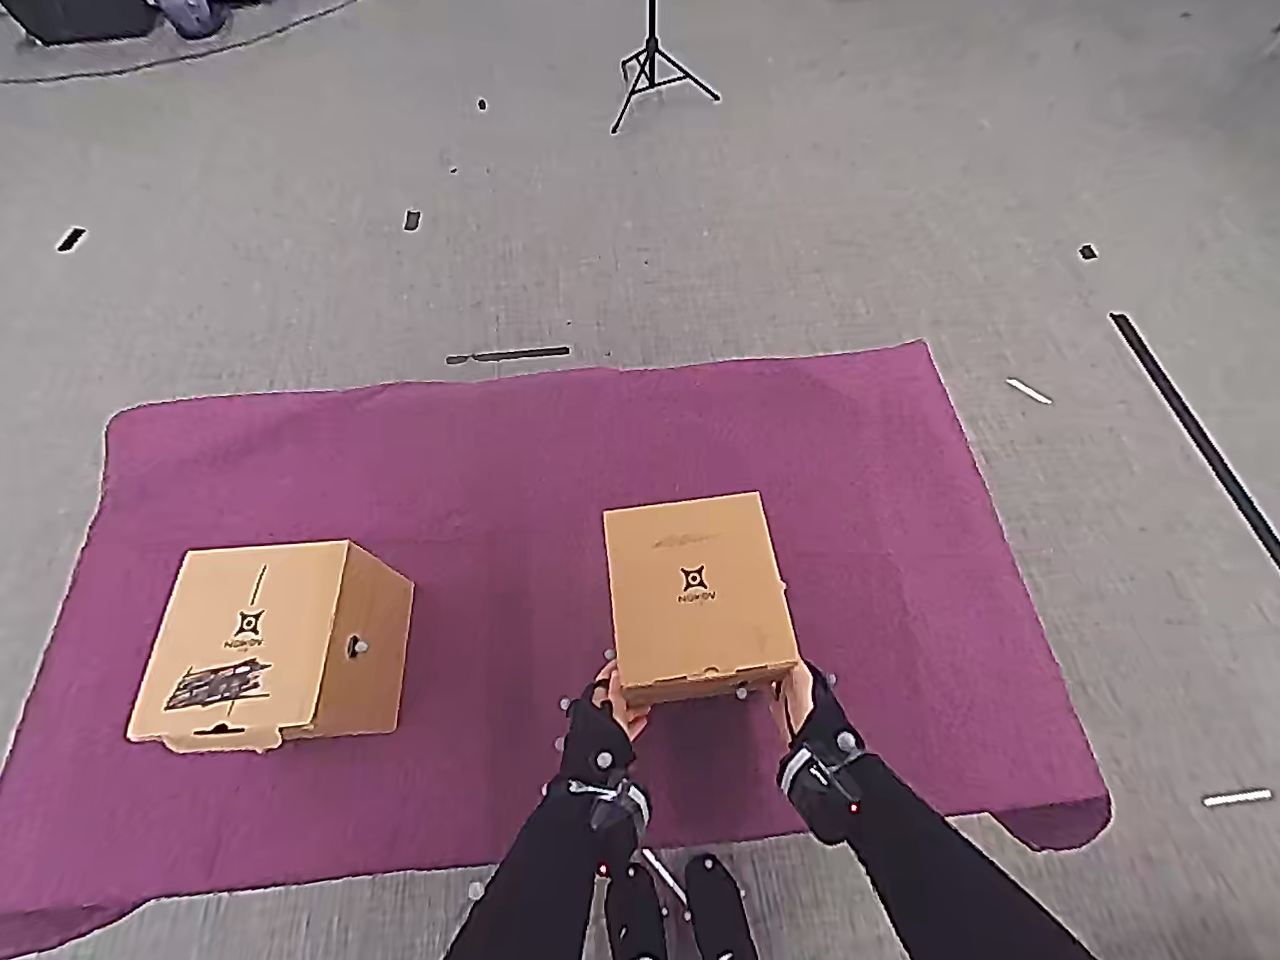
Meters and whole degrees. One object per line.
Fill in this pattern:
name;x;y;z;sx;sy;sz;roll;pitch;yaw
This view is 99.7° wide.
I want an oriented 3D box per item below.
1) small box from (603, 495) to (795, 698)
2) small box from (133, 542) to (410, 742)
small box;0.054;0.136;0.592;0.168;0.176;0.179;-7;63;-2
small box;-0.367;0.180;0.581;0.168;0.176;0.179;-4;63;-1
